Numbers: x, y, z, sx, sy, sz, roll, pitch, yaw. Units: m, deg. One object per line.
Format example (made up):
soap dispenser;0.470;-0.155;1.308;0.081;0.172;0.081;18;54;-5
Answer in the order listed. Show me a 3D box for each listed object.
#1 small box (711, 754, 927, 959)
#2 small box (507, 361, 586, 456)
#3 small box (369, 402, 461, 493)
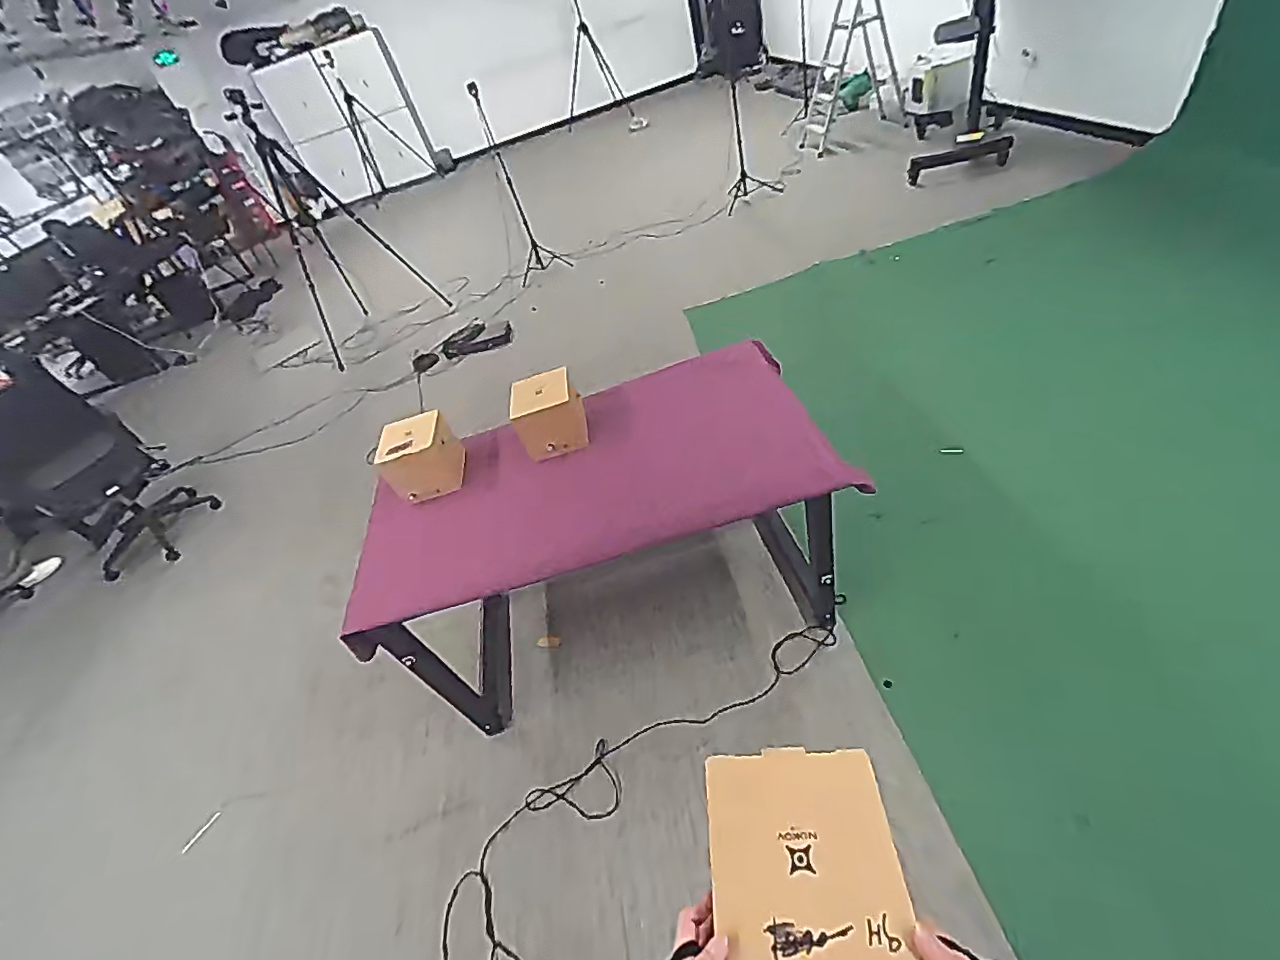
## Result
small box;0.162;0.402;0.541;0.168;0.176;0.179;-7;39;8
small box;-0.255;-0.196;1.497;0.168;0.176;0.179;-16;45;5
small box;-0.615;-0.082;1.502;0.168;0.176;0.179;-16;45;2
